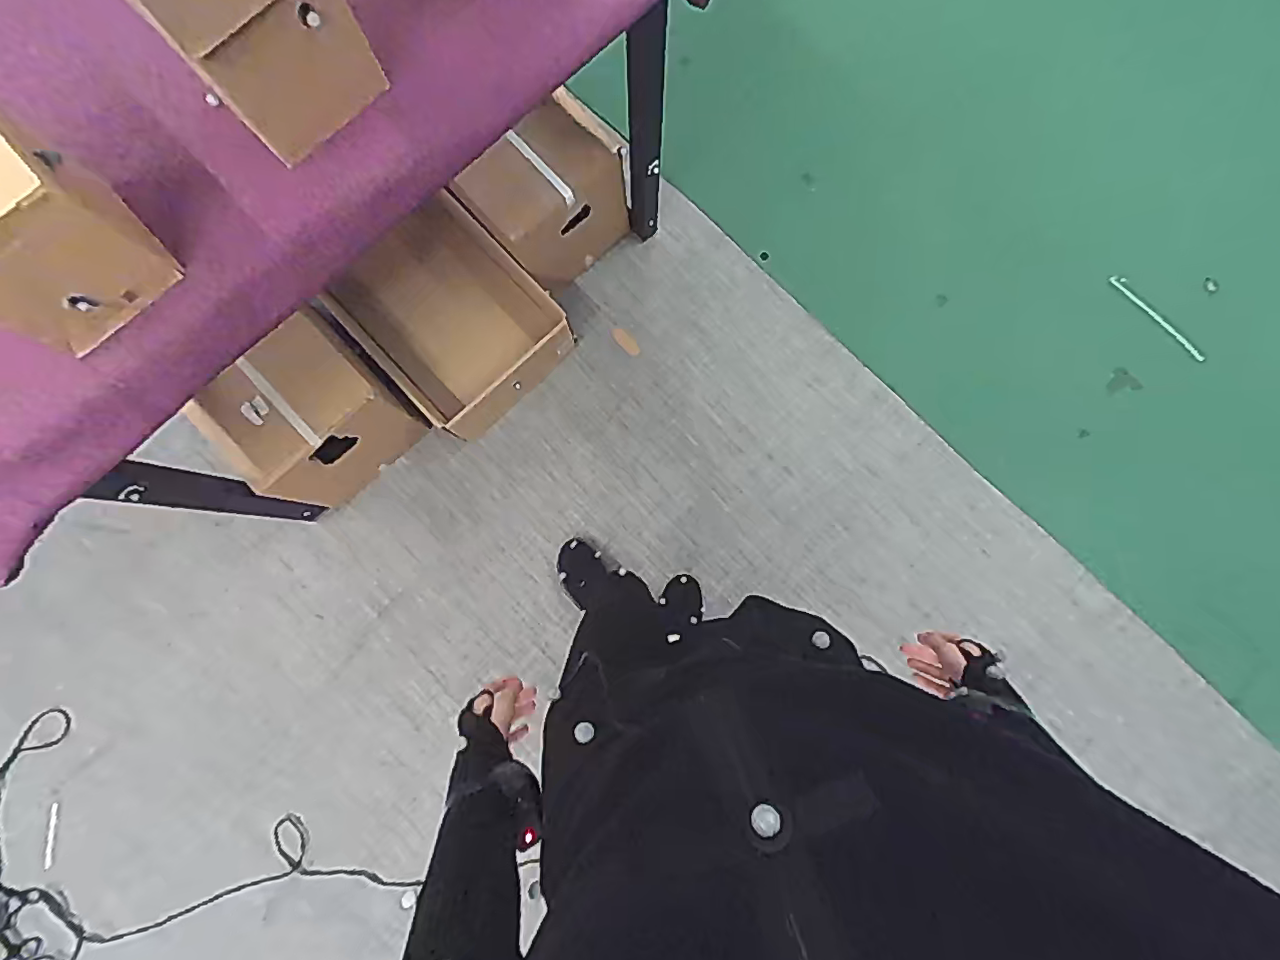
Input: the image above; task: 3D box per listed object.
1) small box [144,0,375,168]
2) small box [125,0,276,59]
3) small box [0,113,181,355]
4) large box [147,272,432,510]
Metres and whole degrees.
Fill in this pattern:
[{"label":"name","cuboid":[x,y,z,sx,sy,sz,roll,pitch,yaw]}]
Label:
[{"label":"small box","cuboid":[-0.450,-0.527,0.642,0.179,0.176,0.168,-45,82,-5]},{"label":"small box","cuboid":[-0.444,-0.536,0.477,0.168,0.176,0.179,44,85,7]},{"label":"small box","cuboid":[-0.693,-0.274,0.609,0.168,0.176,0.179,-43,83,-6]},{"label":"large box","cuboid":[-0.781,-0.185,1.265,0.320,0.320,0.408,-44,85,-6]}]
